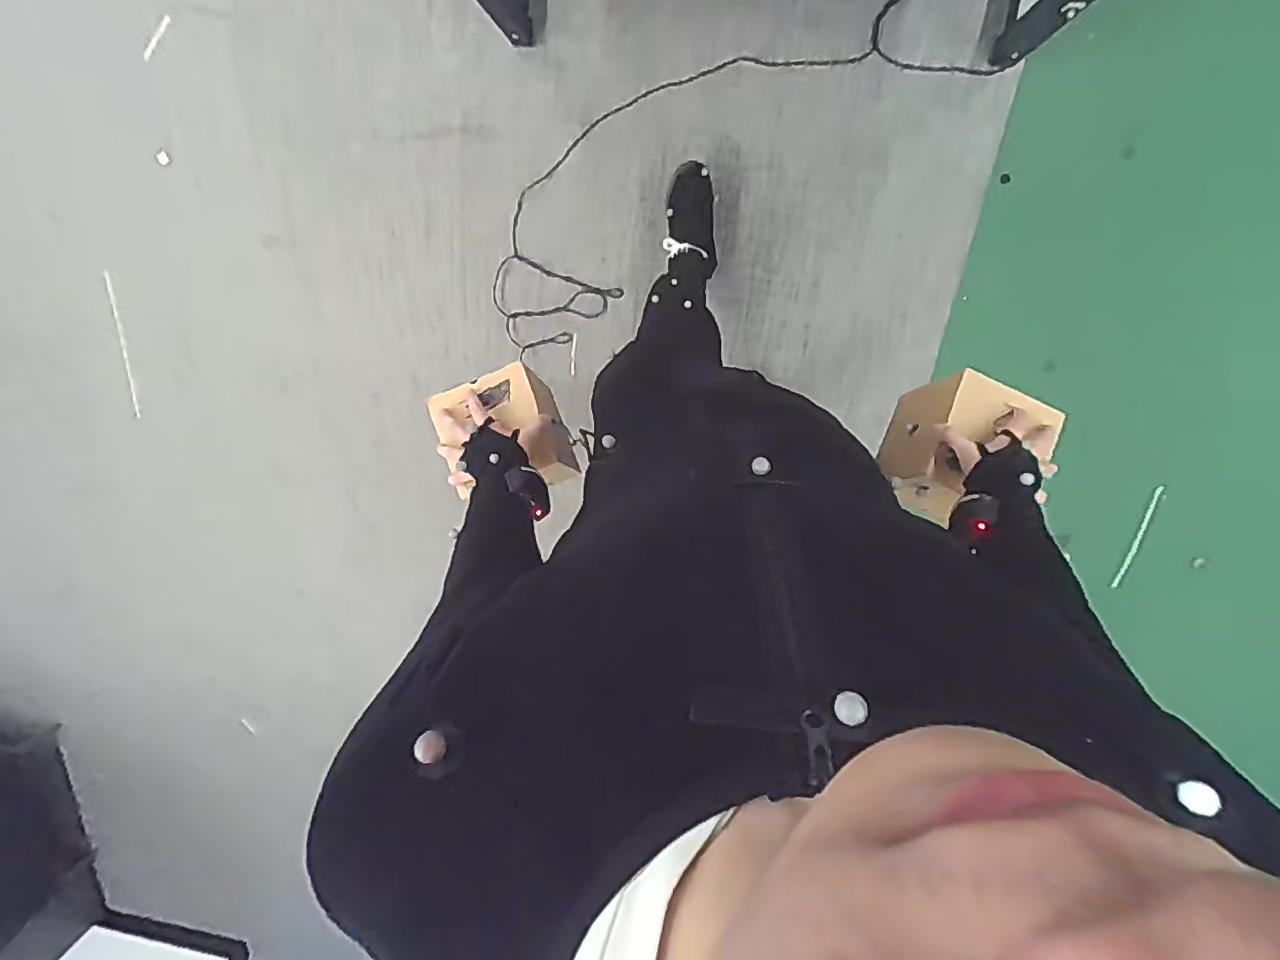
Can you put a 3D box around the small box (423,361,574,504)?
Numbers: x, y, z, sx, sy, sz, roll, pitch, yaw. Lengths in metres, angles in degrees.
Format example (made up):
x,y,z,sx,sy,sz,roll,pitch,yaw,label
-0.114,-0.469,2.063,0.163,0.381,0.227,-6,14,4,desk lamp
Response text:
x,y,z,sx,sy,sz,roll,pitch,yaw,label
-0.228,-0.070,0.909,0.168,0.176,0.179,-22,83,3,small box
